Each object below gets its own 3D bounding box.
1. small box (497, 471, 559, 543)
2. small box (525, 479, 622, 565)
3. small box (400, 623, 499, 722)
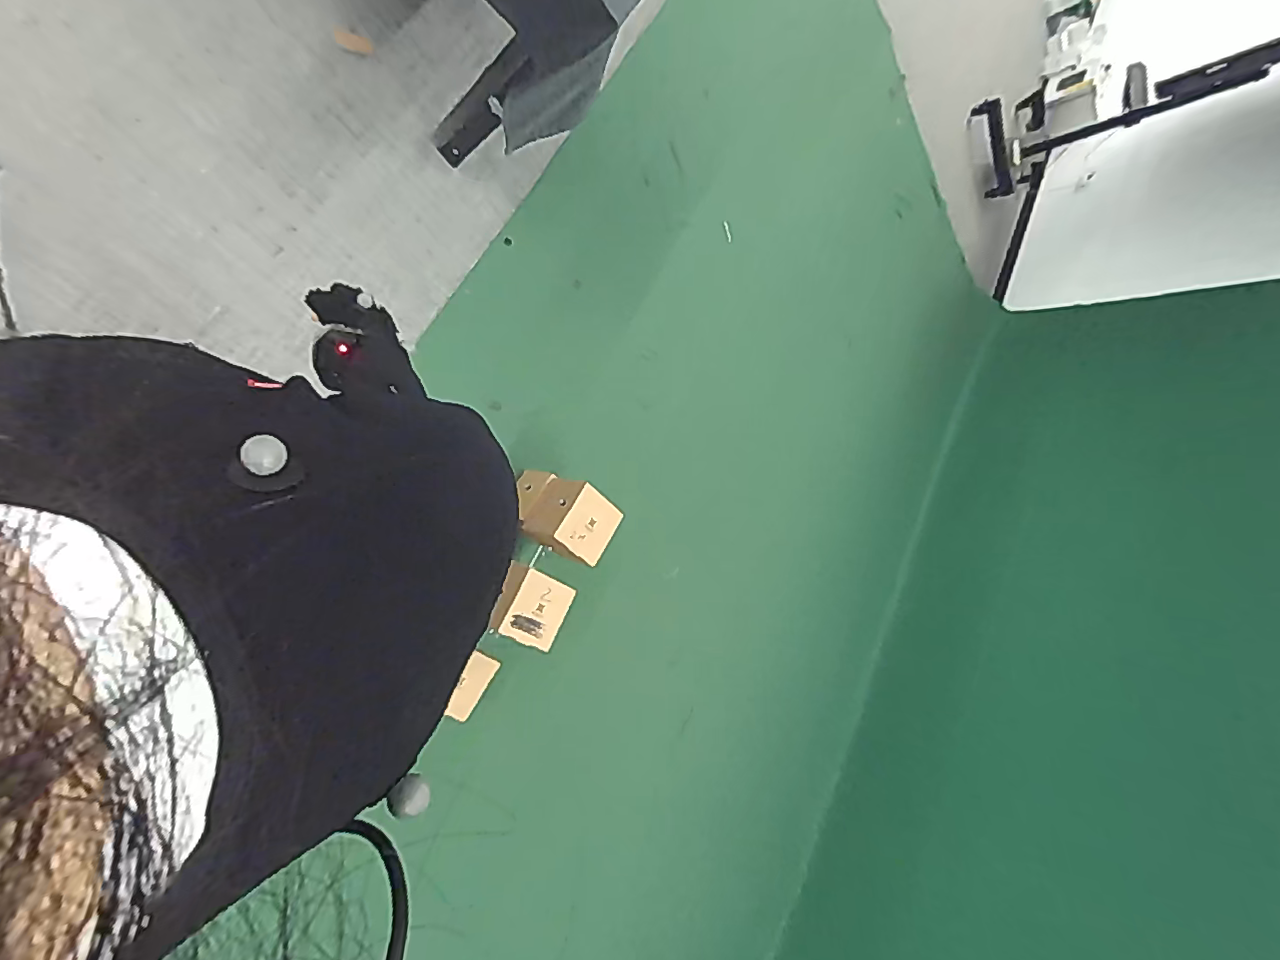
[{"bbox_3d":[-0.299,0.086,1.635,0.179,0.176,0.168,46,65,-34],"label":"small box"},{"bbox_3d":[-0.190,0.111,1.513,0.168,0.176,0.179,45,65,-34],"label":"small box"},{"bbox_3d":[-0.528,0.522,1.481,0.168,0.176,0.179,45,66,-34],"label":"small box"}]
